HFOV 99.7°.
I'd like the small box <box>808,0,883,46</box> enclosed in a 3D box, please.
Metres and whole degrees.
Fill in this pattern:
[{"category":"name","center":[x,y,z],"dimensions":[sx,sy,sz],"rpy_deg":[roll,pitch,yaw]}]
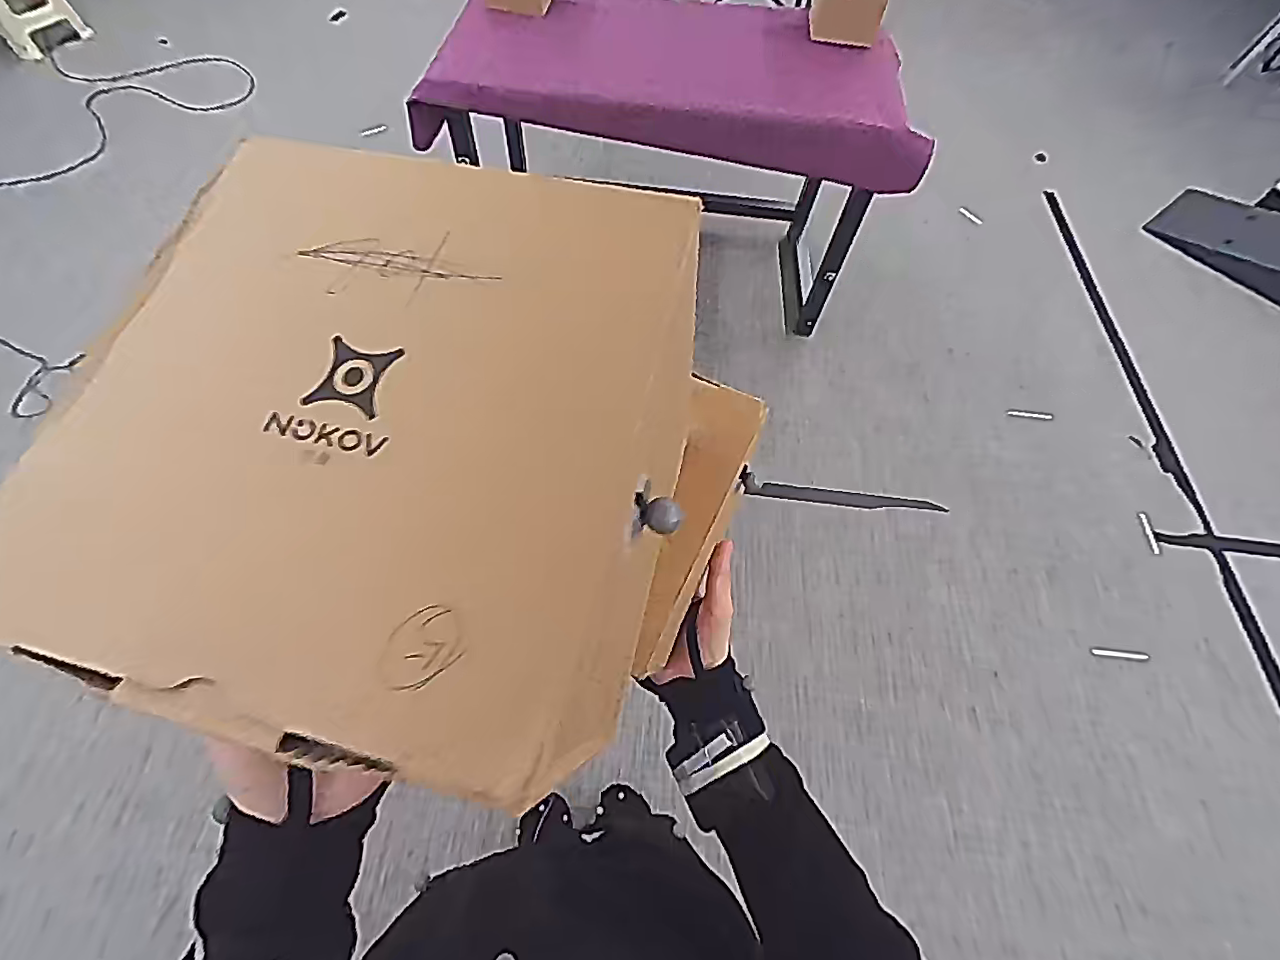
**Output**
[{"category":"small box","center":[0.574,-1.344,1.501],"dimensions":[0.179,0.176,0.168],"rpy_deg":[7,62,0]}]

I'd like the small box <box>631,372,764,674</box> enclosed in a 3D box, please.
[{"category":"small box","center":[-0.026,0.022,0.394],"dimensions":[0.168,0.176,0.179],"rpy_deg":[24,75,12]}]

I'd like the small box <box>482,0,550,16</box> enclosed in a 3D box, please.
[{"category":"small box","center":[-0.345,-1.423,1.490],"dimensions":[0.179,0.176,0.168],"rpy_deg":[9,63,0]}]

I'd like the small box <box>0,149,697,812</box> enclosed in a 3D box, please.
[{"category":"small box","center":[-0.075,0.005,0.230],"dimensions":[0.168,0.176,0.179],"rpy_deg":[12,70,7]}]
